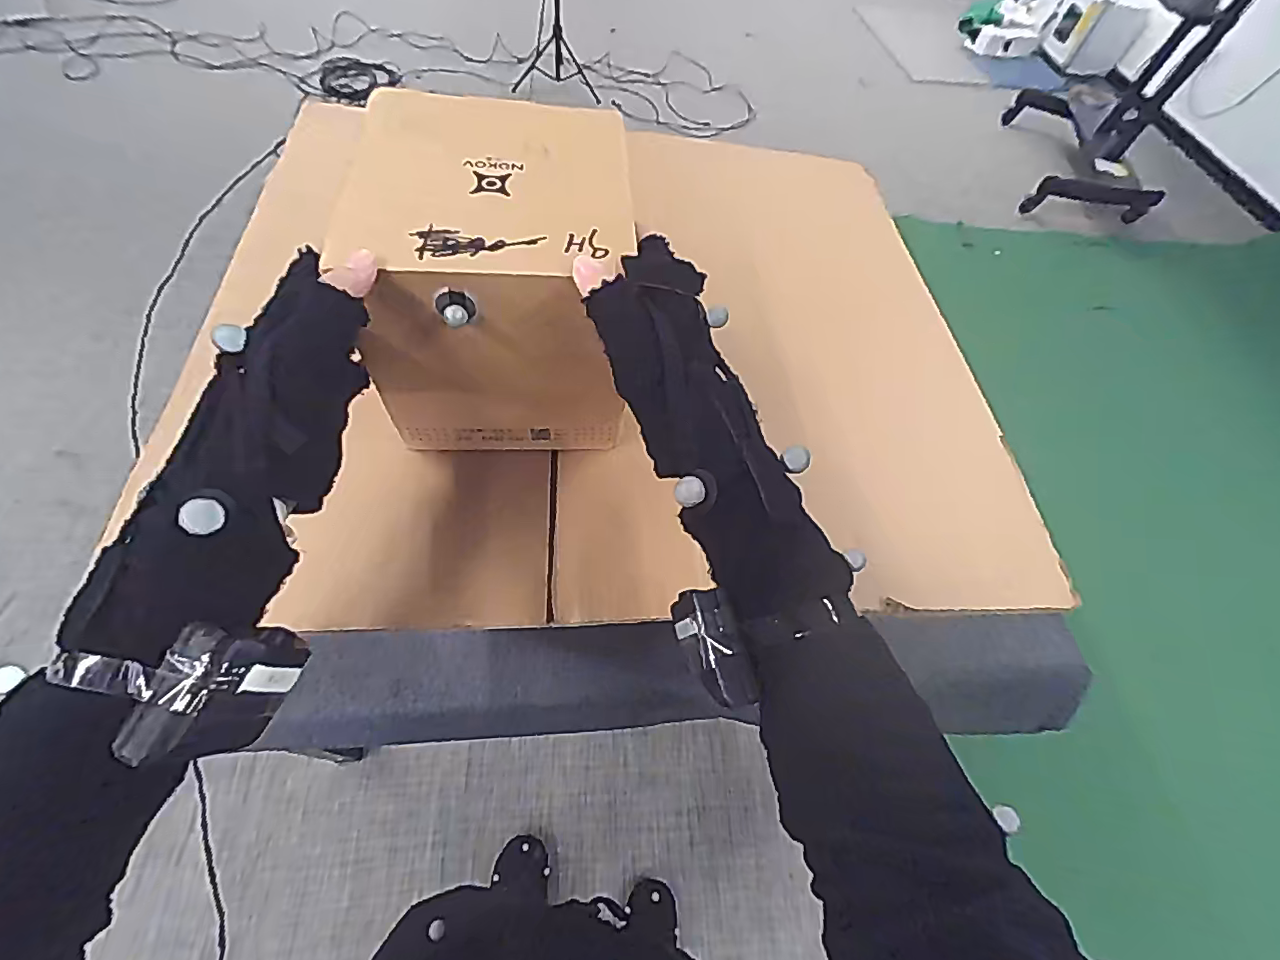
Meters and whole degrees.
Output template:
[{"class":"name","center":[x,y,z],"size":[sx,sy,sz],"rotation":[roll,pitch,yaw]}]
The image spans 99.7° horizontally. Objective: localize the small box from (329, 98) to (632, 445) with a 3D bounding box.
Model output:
[{"class":"small box","center":[-0.099,-0.146,0.406],"size":[0.168,0.176,0.179],"rotation":[-1,59,-7]}]
